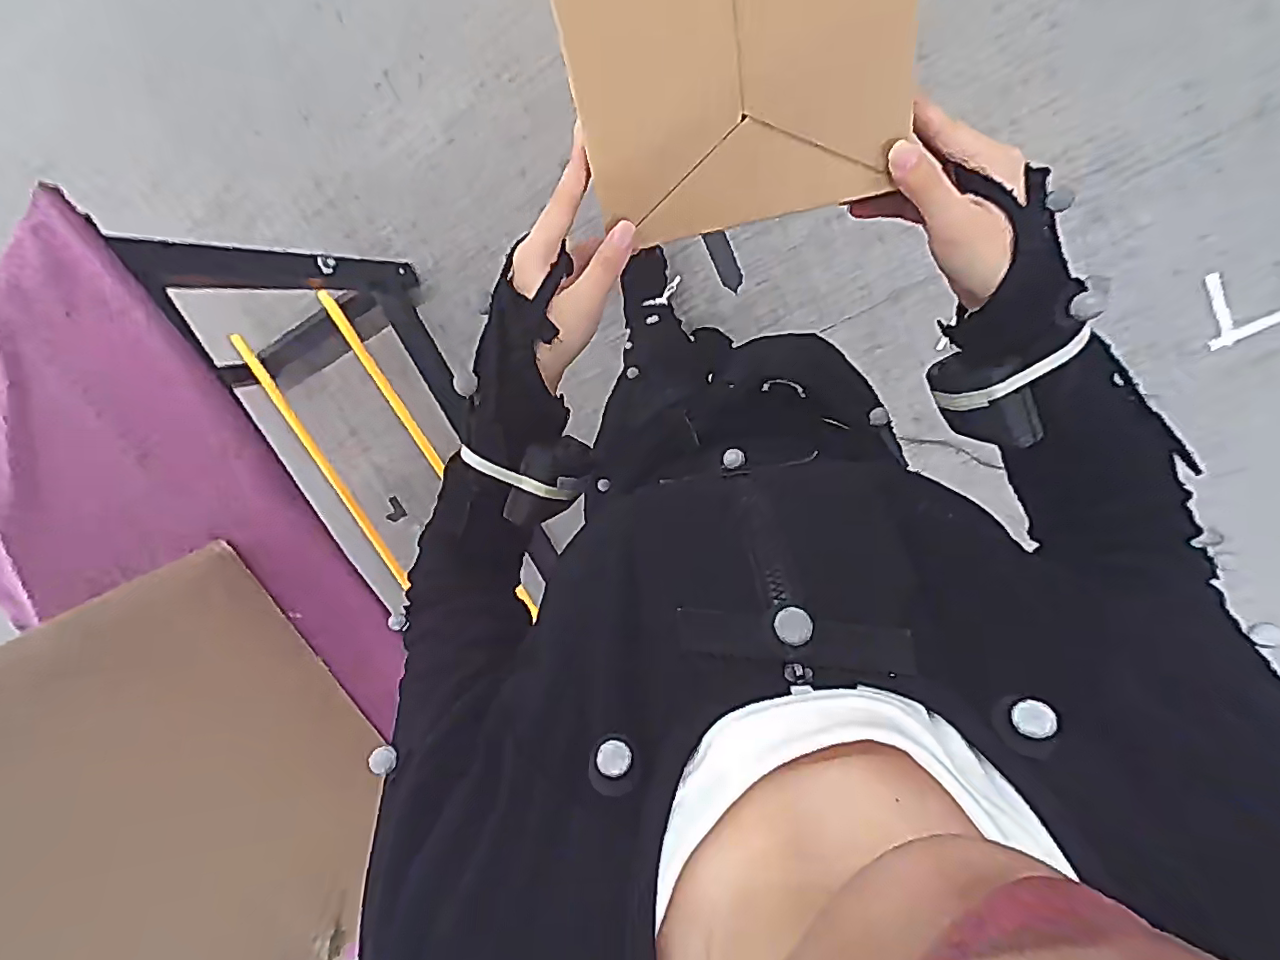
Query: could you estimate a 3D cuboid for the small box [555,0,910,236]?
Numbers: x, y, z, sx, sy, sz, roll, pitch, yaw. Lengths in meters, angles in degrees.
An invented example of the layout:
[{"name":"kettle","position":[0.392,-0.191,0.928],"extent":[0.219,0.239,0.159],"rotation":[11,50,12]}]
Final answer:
[{"name":"small box","position":[0.049,-0.267,0.343],"extent":[0.179,0.176,0.168],"rotation":[-9,123,8]}]
